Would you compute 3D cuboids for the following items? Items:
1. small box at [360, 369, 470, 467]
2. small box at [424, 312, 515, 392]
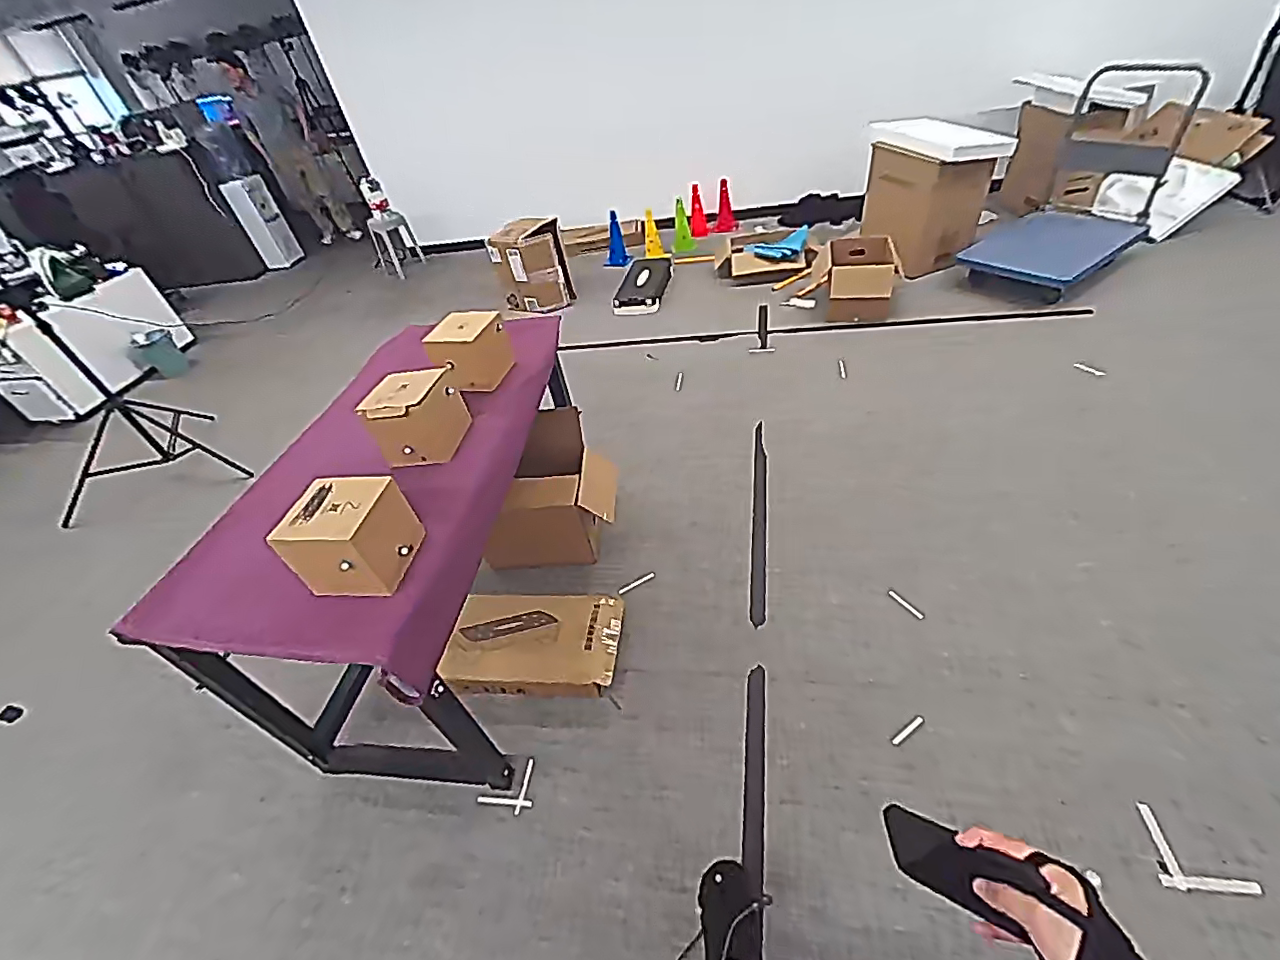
[{"bbox_3d":[-0.548,-0.153,1.348,0.168,0.176,0.179,-4,42,13],"label":"small box"},{"bbox_3d":[-0.487,-0.368,1.575,0.168,0.176,0.179,3,43,16],"label":"small box"}]
